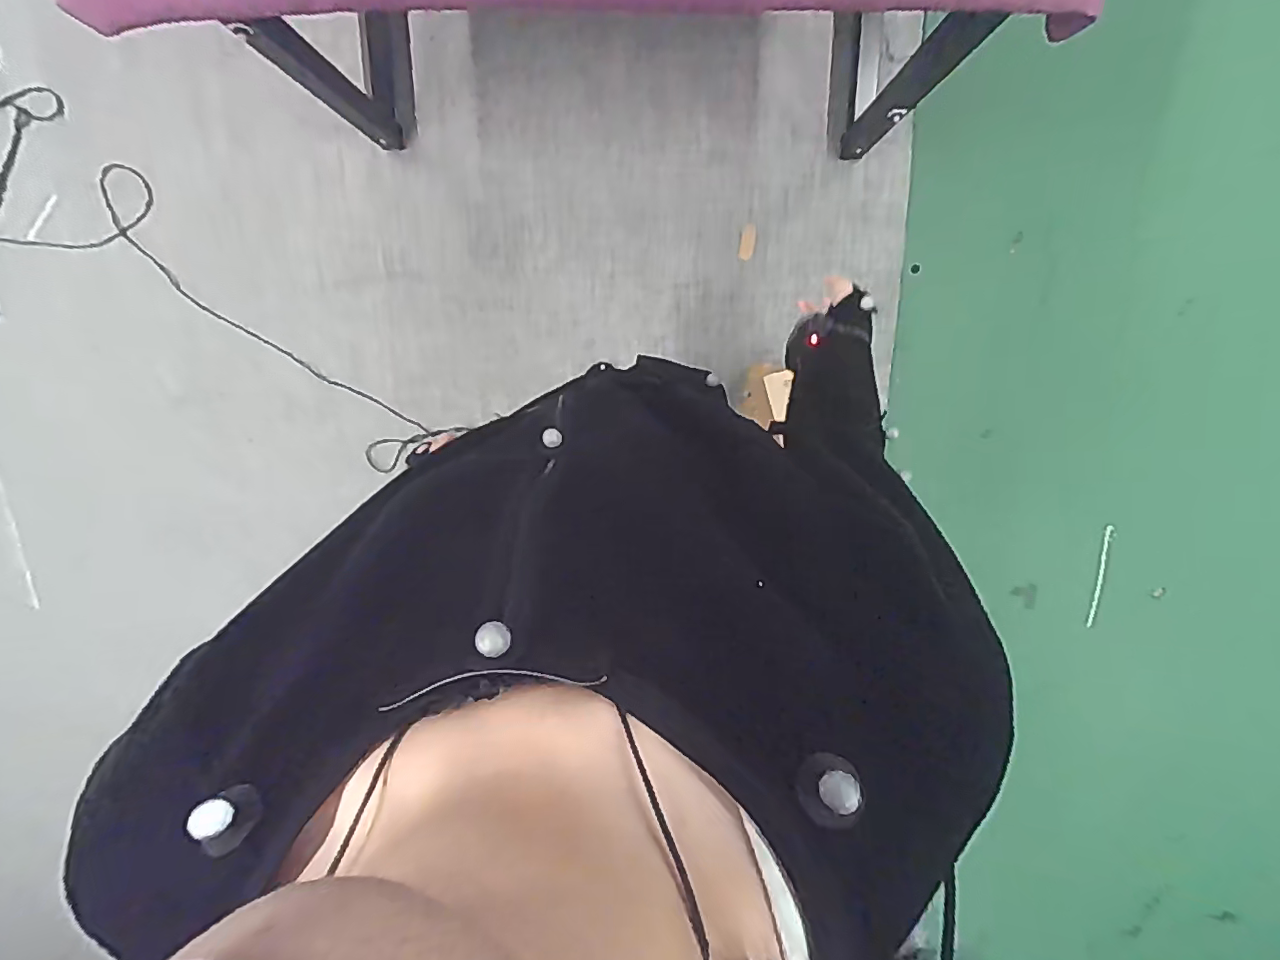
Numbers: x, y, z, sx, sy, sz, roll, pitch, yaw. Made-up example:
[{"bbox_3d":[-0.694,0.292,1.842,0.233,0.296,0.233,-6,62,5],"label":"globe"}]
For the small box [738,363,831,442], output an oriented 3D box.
[{"bbox_3d":[0.361,-0.203,1.389,0.179,0.176,0.168,10,103,-1],"label":"small box"}]
